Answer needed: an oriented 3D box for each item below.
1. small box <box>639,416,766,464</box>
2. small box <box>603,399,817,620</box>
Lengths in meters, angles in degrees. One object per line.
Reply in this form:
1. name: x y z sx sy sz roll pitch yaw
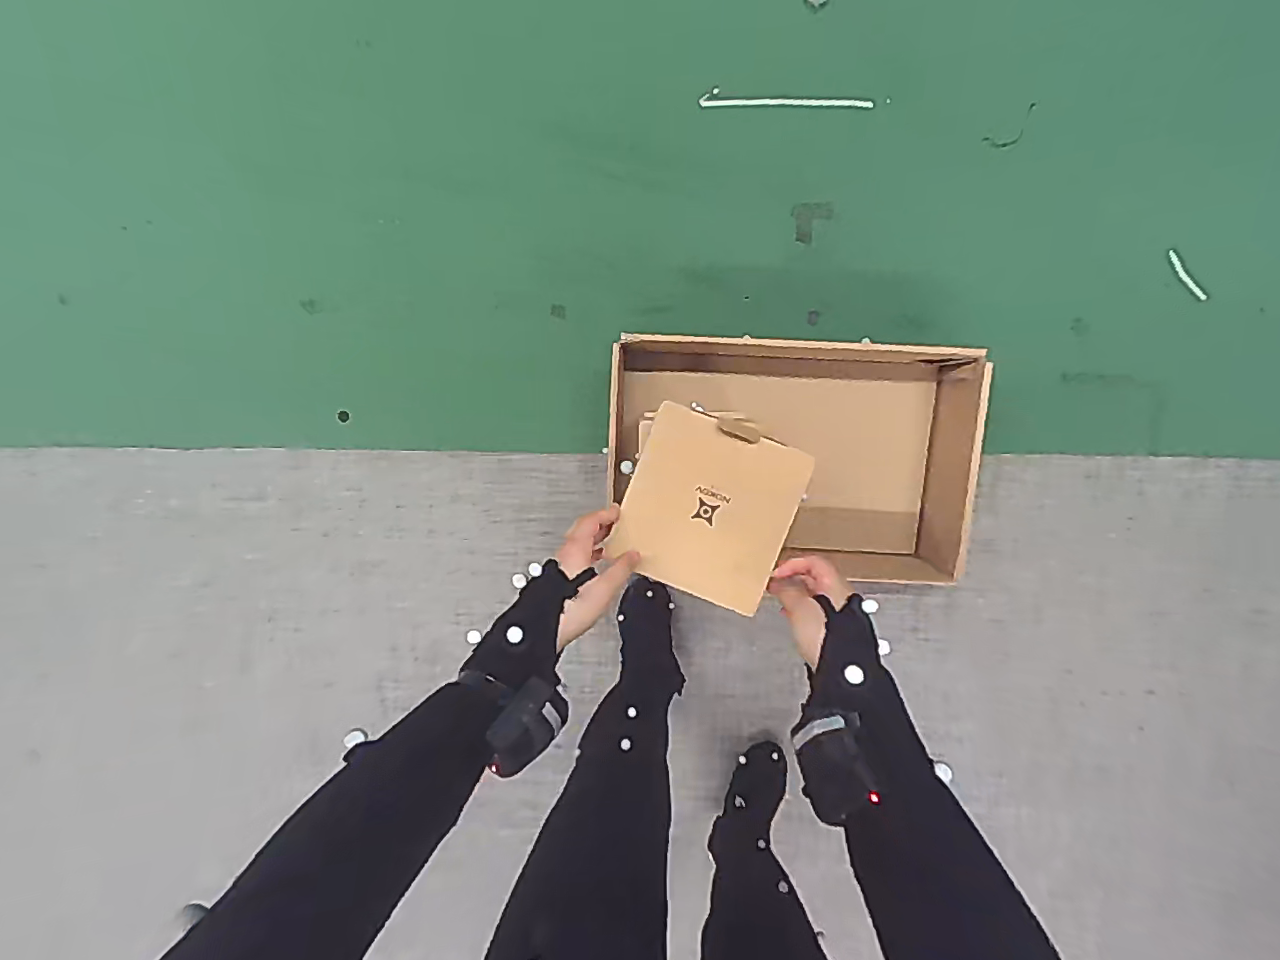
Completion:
1. small box: 0.082 -0.002 0.793 0.168 0.176 0.179 1 98 0
2. small box: 0.074 0.031 0.617 0.168 0.176 0.179 22 89 3
